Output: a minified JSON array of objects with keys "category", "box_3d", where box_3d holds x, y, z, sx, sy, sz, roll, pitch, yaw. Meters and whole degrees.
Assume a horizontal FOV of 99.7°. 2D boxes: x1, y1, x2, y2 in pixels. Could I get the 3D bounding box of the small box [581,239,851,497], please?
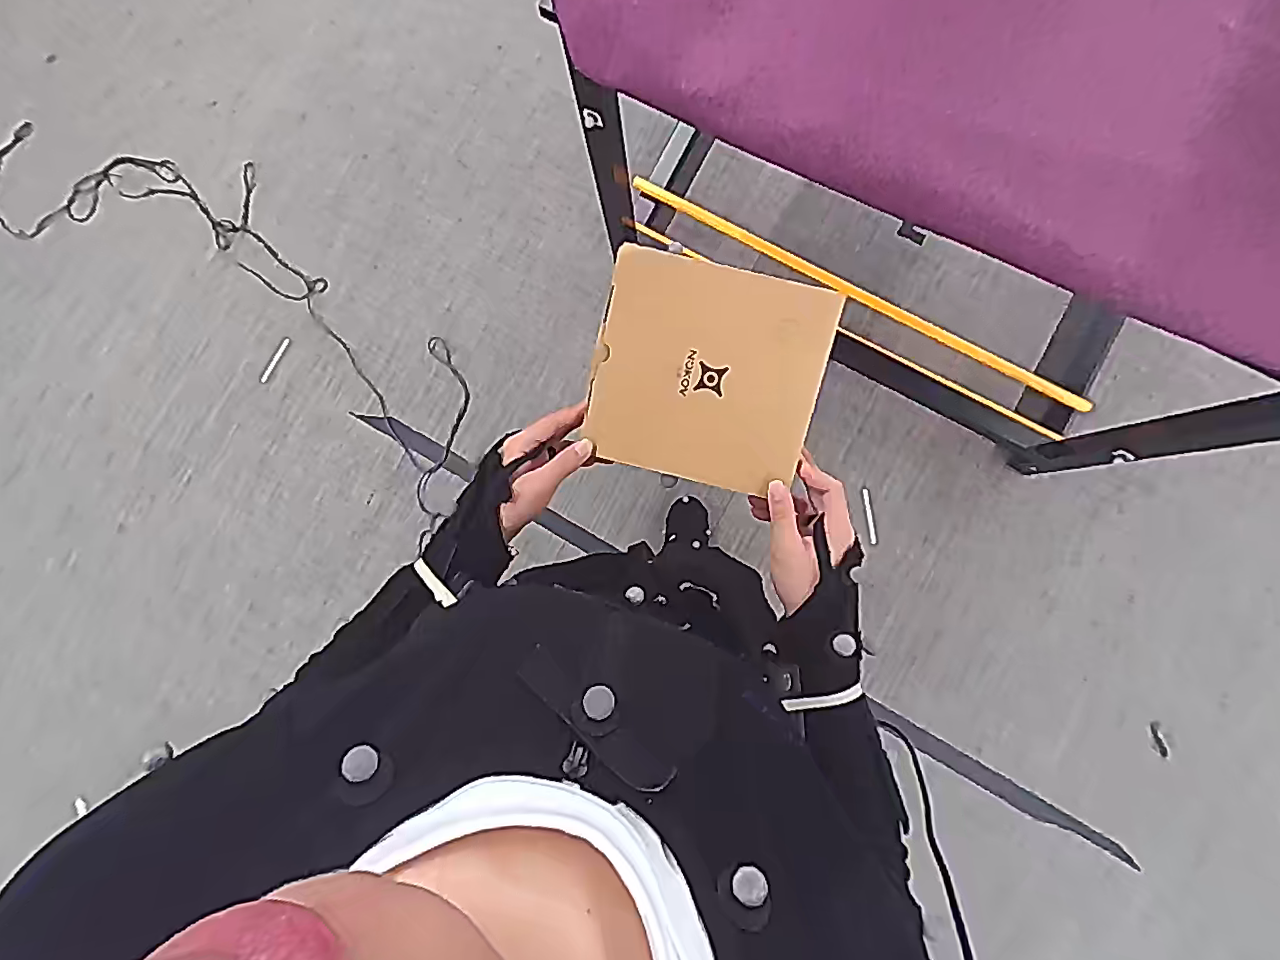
[{"category":"small box","box_3d":[0.061,-0.097,0.493,0.179,0.176,0.168,14,101,3]}]
